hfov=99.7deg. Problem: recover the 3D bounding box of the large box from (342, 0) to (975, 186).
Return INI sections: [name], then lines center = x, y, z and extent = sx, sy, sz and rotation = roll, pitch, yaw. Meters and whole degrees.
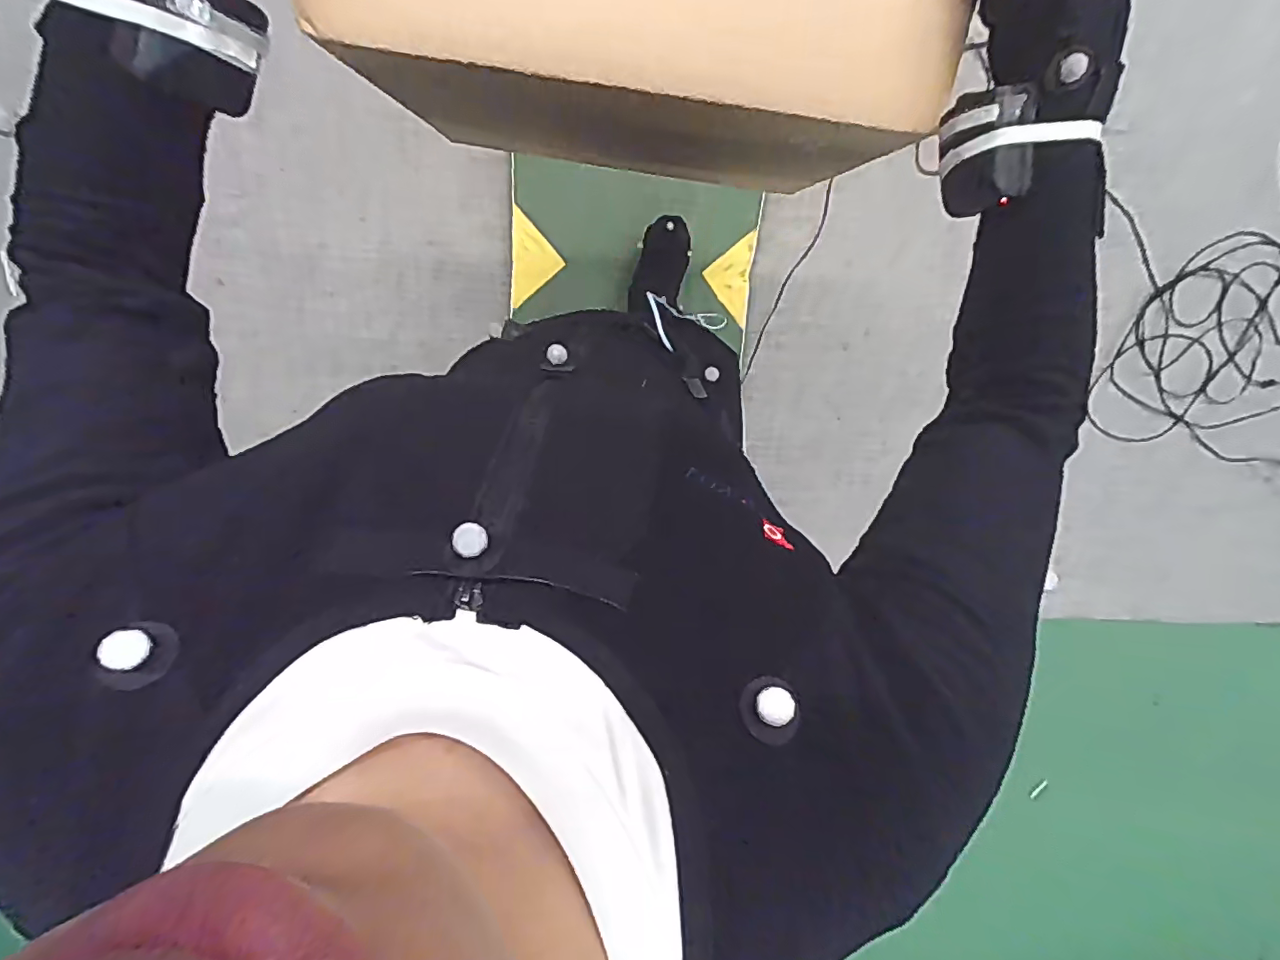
[large box]
center = 0.018, -0.453, 0.438
extent = 0.408, 0.320, 0.320
rotation = 5, 112, -5
